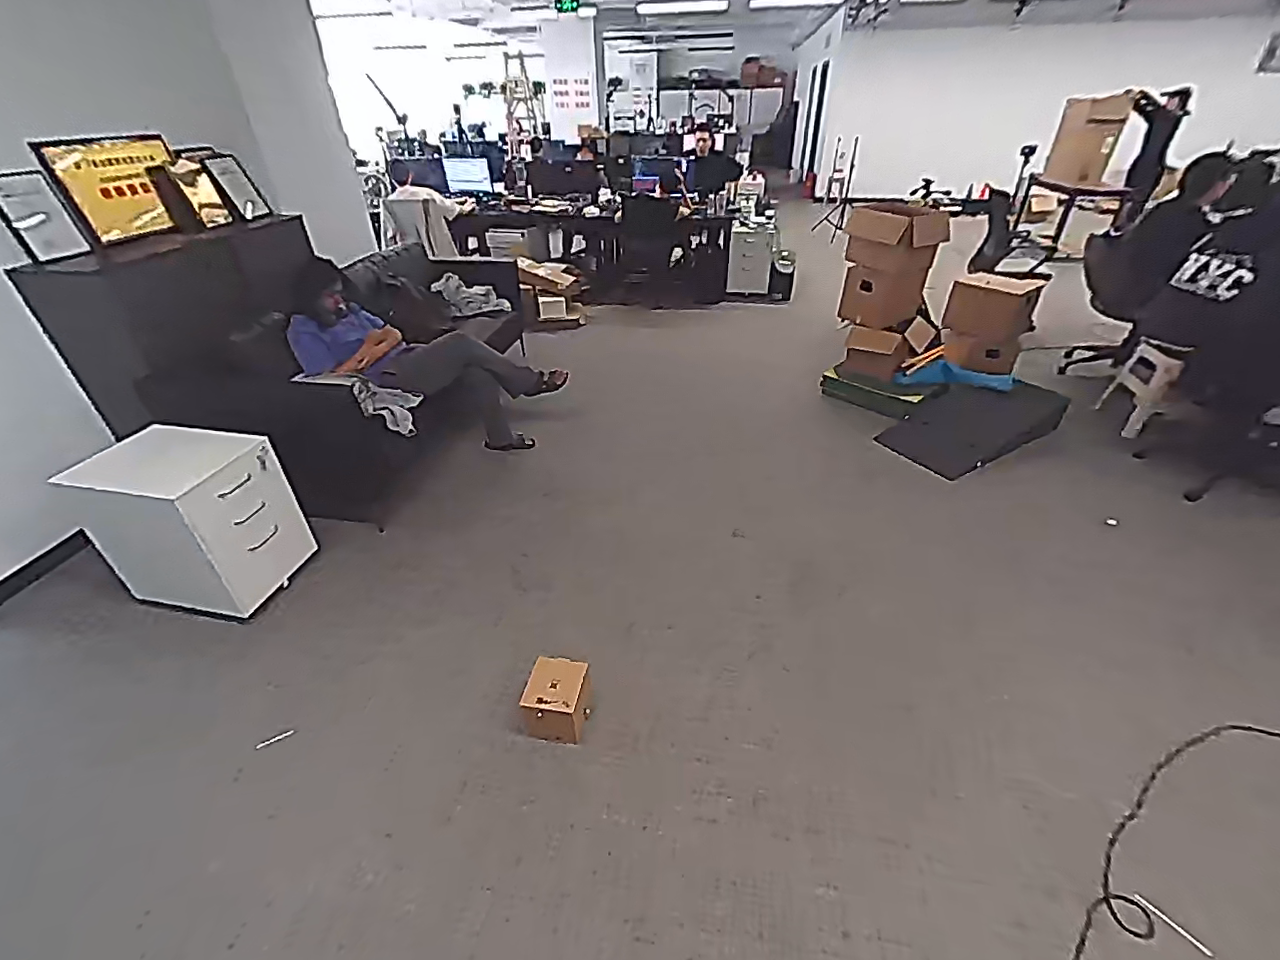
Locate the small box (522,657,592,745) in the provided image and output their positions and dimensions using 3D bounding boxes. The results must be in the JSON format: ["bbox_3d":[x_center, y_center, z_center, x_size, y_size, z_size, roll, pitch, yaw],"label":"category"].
[{"bbox_3d":[-0.251,0.685,1.678,0.168,0.176,0.179,5,34,10],"label":"small box"}]
